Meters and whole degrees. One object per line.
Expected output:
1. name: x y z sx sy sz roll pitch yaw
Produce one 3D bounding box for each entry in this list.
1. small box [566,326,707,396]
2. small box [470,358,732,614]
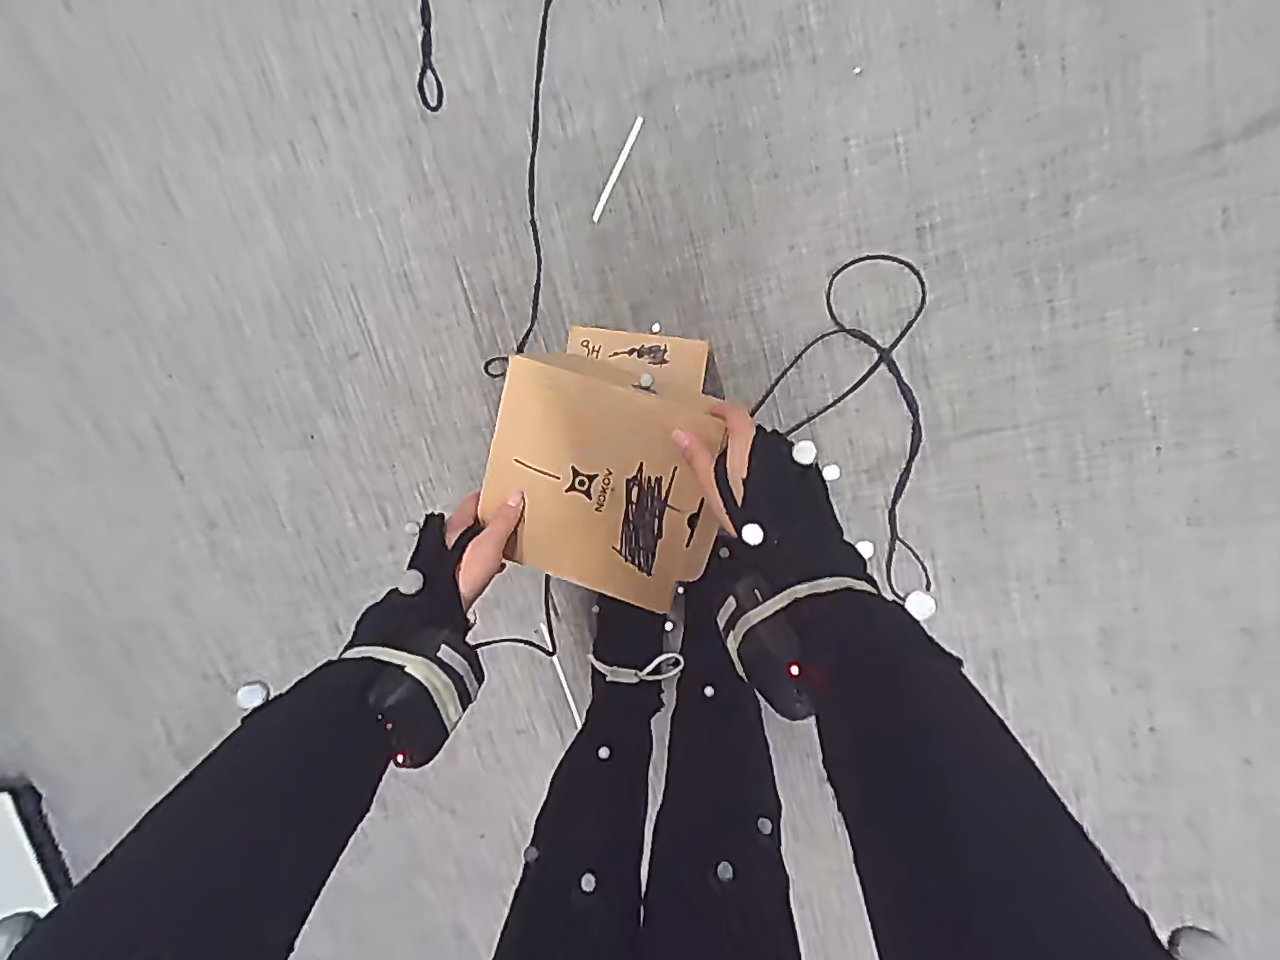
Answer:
1. small box: -0.003 -0.102 0.721 0.168 0.176 0.179 8 103 5
2. small box: -0.024 -0.010 0.498 0.179 0.176 0.168 19 105 5
